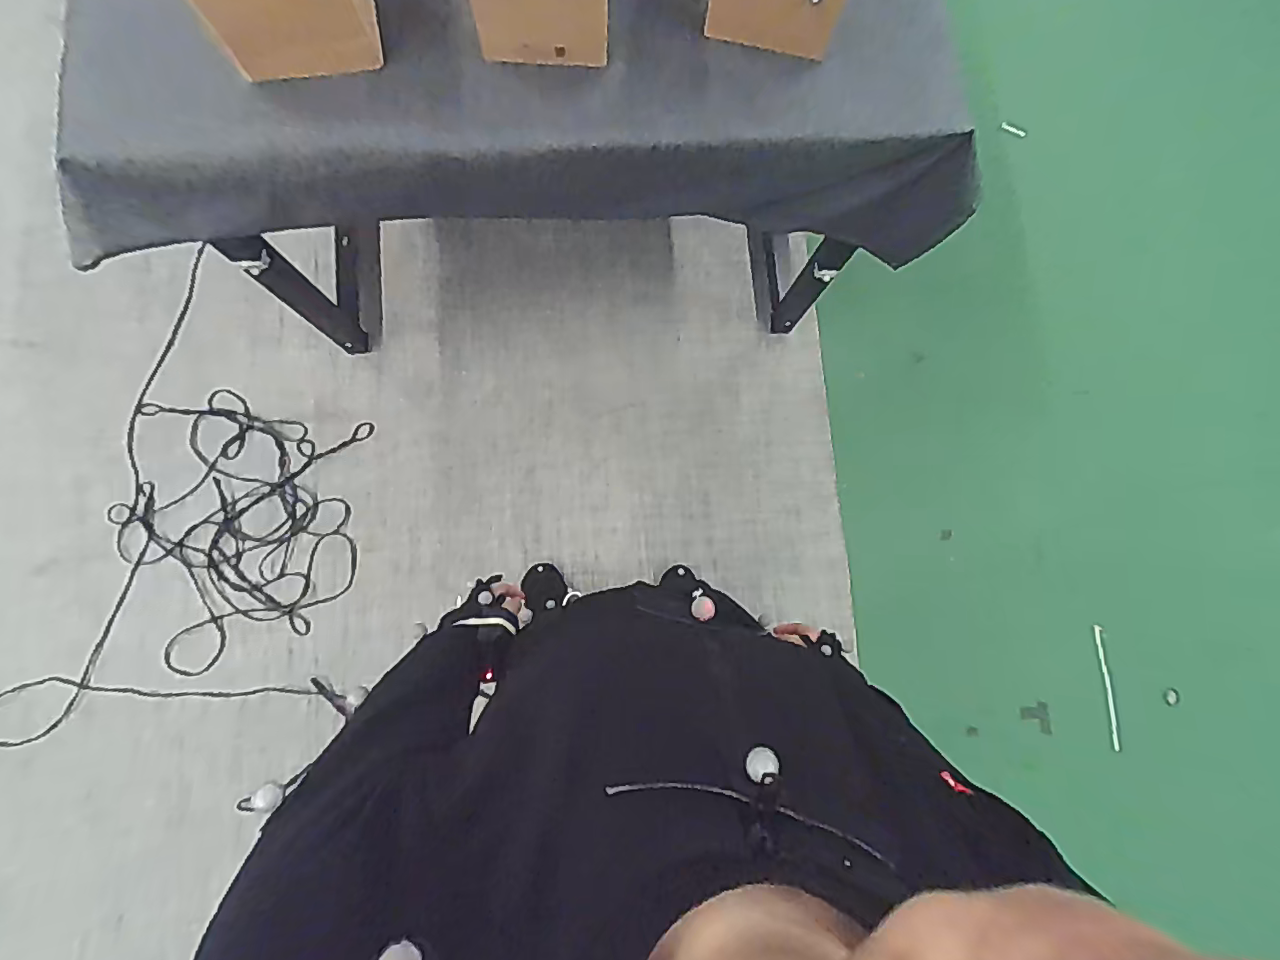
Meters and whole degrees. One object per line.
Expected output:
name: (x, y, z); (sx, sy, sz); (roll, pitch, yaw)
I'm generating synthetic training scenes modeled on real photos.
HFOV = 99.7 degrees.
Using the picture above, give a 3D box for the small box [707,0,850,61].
small box: (0.195, -0.692, 0.699); (0.179, 0.176, 0.168); (10, 80, -1)

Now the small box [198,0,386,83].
small box: (-0.432, -0.616, 0.644); (0.179, 0.176, 0.168); (-11, 82, -6)
